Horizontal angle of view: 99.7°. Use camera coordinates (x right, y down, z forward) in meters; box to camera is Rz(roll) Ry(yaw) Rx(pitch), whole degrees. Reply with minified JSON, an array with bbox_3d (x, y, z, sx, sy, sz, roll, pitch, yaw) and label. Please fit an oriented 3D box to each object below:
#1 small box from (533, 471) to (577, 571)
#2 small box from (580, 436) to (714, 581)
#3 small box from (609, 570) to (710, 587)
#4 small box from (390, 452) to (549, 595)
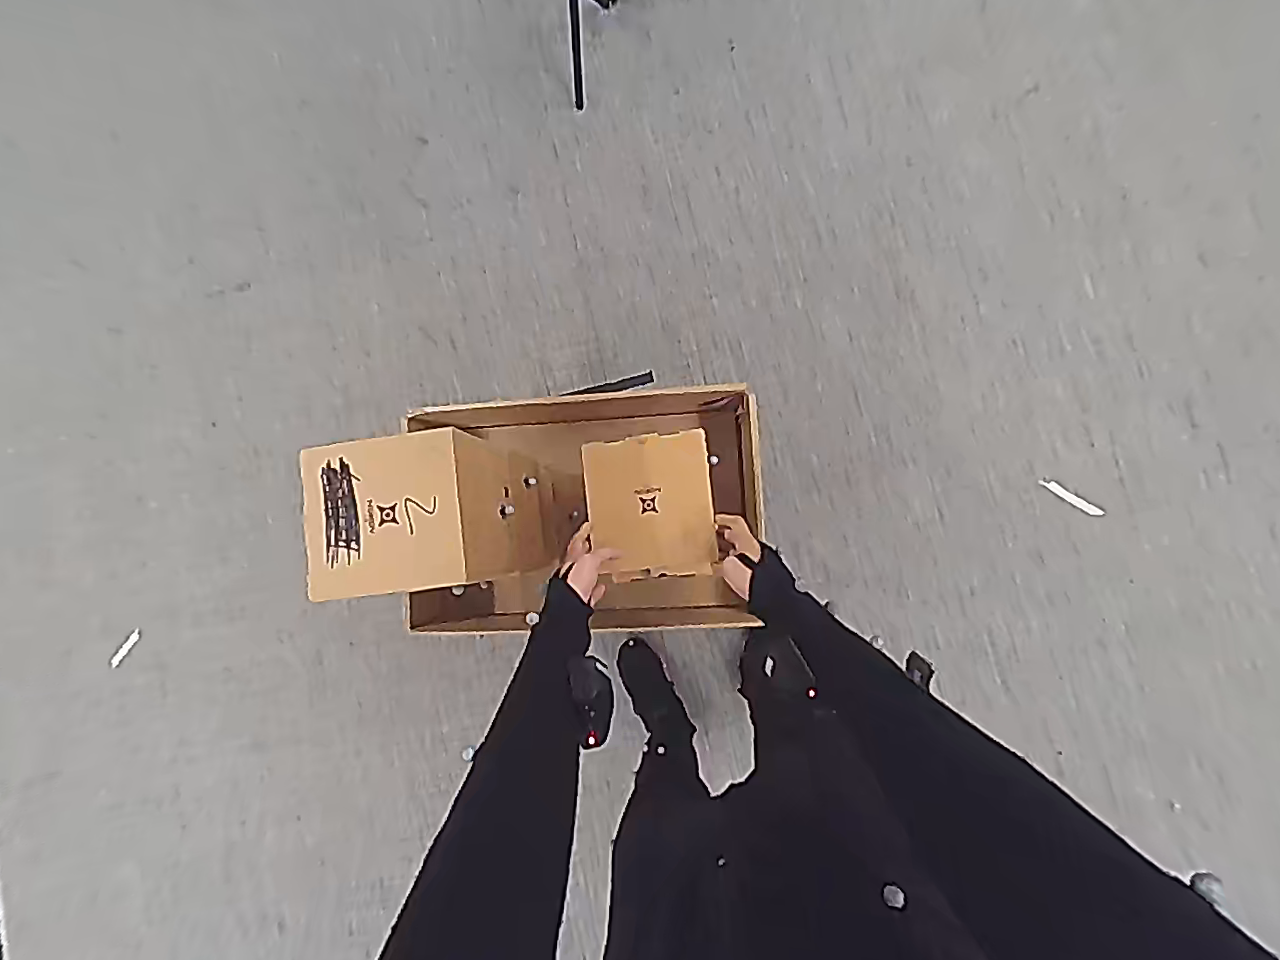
[{"bbox_3d":[-0.219,0.081,0.965,0.179,0.176,0.168,-6,85,4],"label":"small box"},{"bbox_3d":[0.017,0.045,0.782,0.168,0.176,0.179,-7,82,5],"label":"small box"},{"bbox_3d":[0.035,0.085,0.941,0.168,0.176,0.179,-5,84,6],"label":"small box"},{"bbox_3d":[-0.243,0.067,0.803,0.168,0.176,0.179,-9,84,6],"label":"small box"}]
